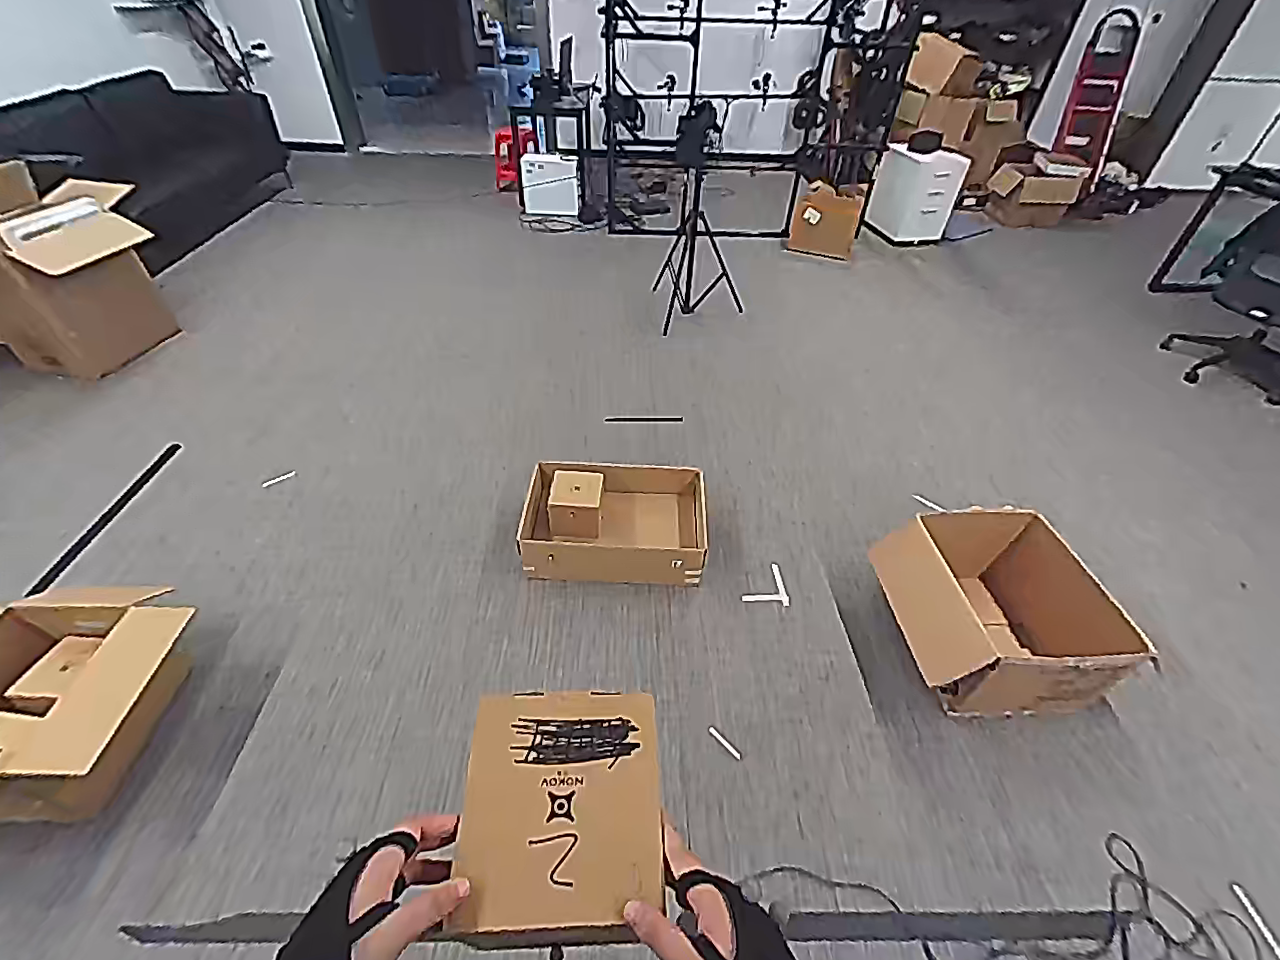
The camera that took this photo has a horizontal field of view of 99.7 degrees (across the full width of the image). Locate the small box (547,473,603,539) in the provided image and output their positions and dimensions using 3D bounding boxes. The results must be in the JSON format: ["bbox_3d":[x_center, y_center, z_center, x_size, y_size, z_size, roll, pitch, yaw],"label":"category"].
[{"bbox_3d":[-0.228,0.095,1.935,0.179,0.176,0.168,4,45,-1],"label":"small box"}]
